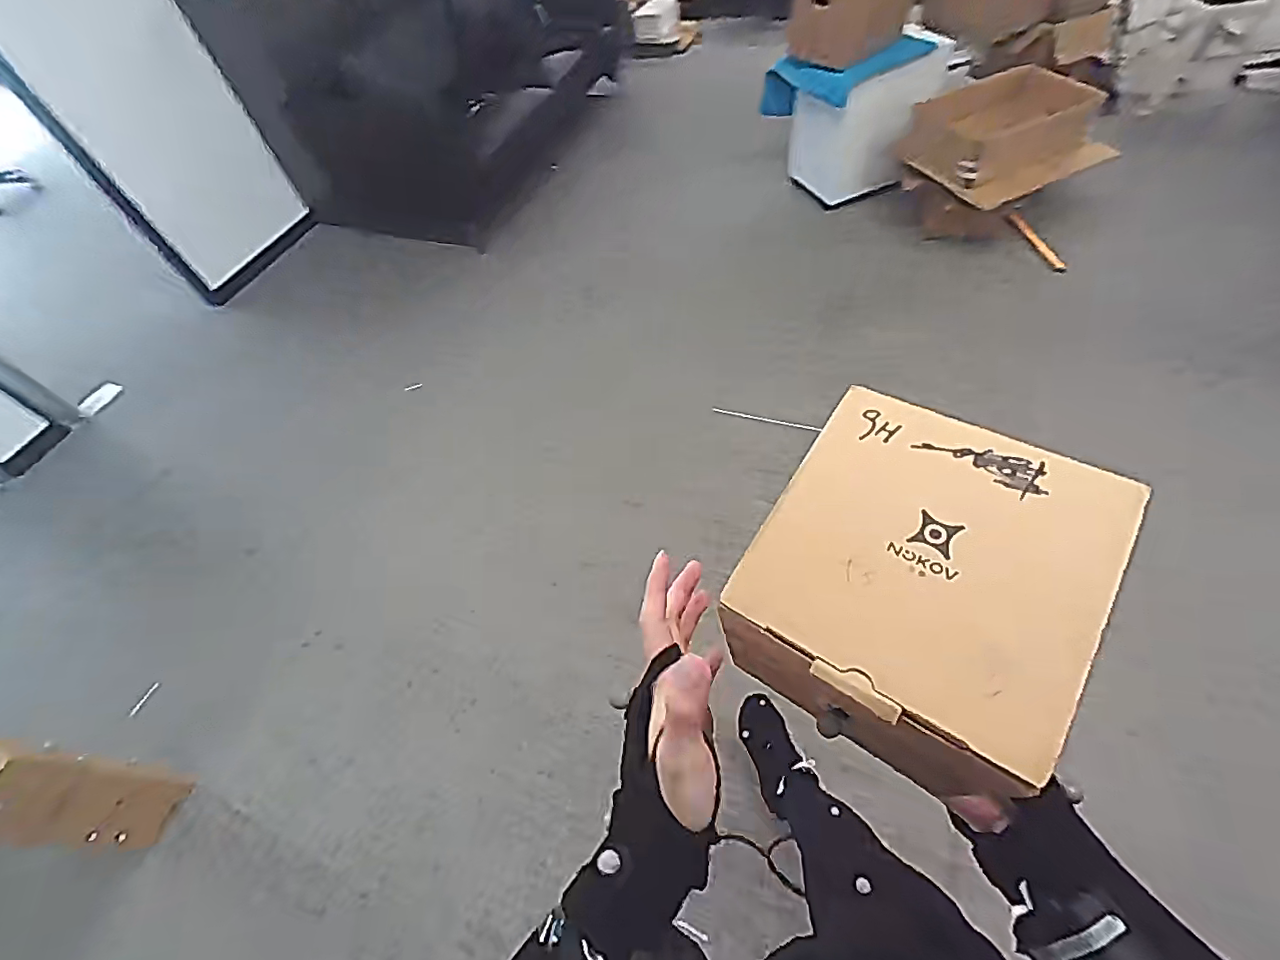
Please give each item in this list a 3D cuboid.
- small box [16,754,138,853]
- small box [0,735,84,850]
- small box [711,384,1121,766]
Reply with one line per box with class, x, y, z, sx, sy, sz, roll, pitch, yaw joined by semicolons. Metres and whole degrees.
small box;-1.398;0.780;1.313;0.179;0.176;0.168;12;57;18
small box;-1.405;0.681;1.180;0.168;0.176;0.179;14;57;17
small box;0.171;0.071;0.373;0.168;0.176;0.179;26;70;26
